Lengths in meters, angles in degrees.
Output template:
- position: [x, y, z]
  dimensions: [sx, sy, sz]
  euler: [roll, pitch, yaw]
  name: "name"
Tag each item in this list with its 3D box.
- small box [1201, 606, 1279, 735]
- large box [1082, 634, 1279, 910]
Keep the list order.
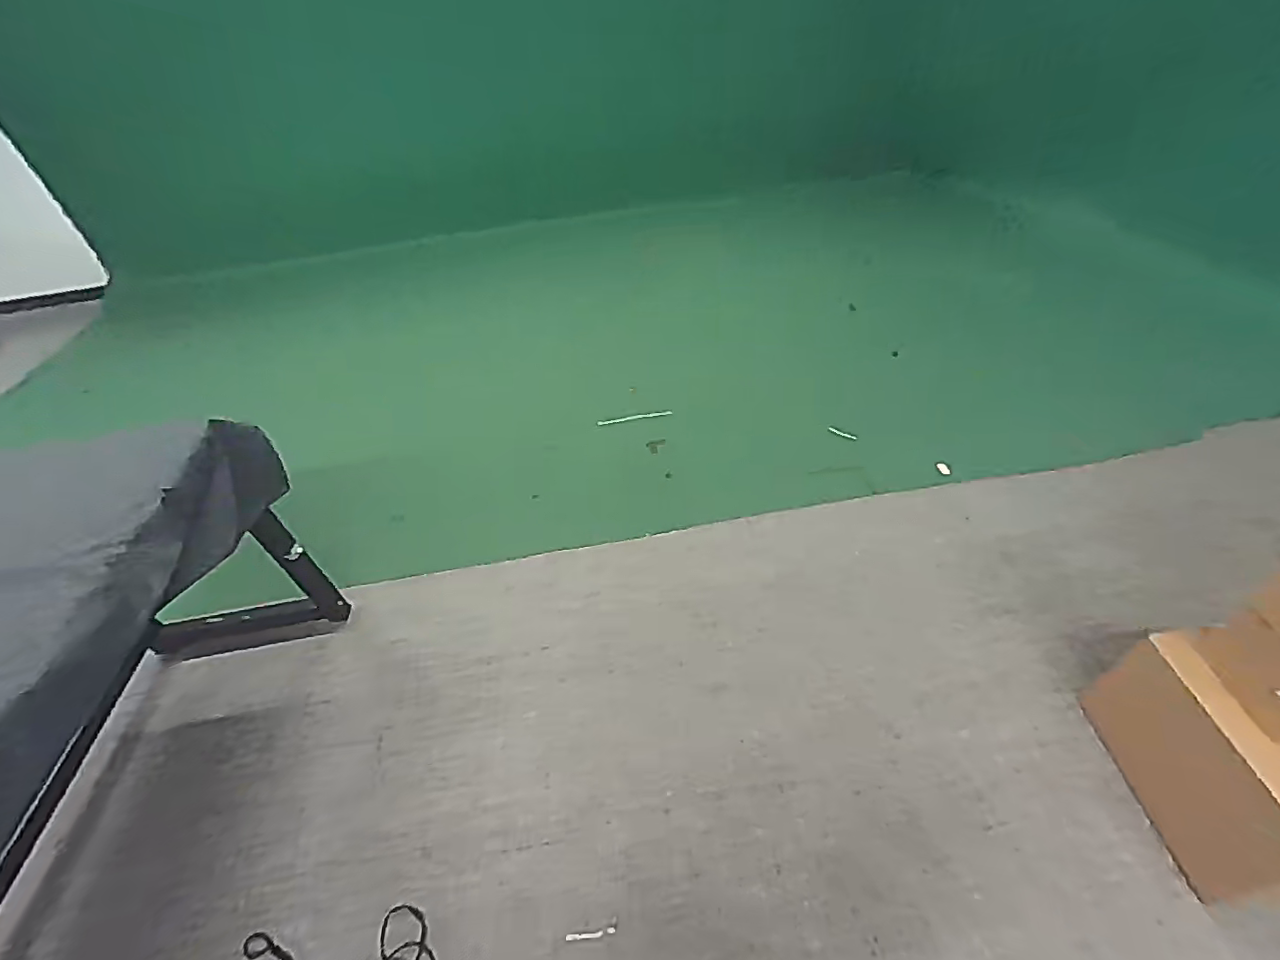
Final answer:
- position: [1.164, 0.332, 0.935]
  dimensions: [0.168, 0.176, 0.179]
  euler: [-4, 42, 1]
  name: "small box"
- position: [1.201, 0.553, 1.050]
  dimensions: [0.320, 0.320, 0.408]
  euler: [-6, 44, 3]
  name: "large box"
